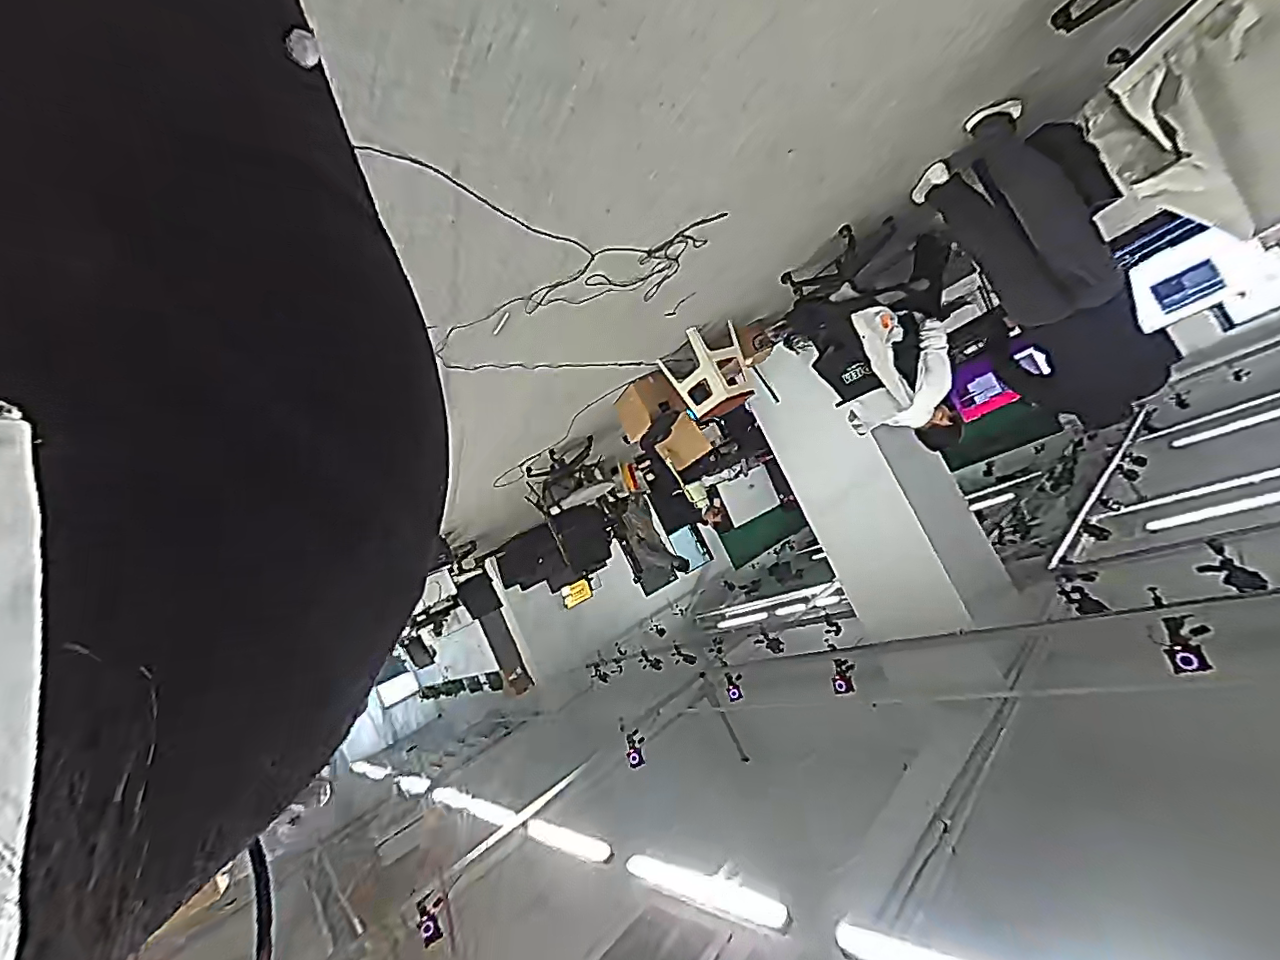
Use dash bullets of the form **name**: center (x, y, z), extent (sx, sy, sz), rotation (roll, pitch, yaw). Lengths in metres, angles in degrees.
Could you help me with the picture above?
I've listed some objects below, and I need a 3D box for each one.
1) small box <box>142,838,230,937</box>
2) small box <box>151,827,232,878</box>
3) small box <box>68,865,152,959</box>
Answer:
- **small box**: center (-1.410, 1.256, 1.686), extent (0.168, 0.176, 0.179), rotation (-19, 169, -35)
- **small box**: center (-1.537, 1.334, 1.859), extent (0.168, 0.176, 0.179), rotation (-22, 174, -34)
- **small box**: center (-1.684, 1.389, 1.737), extent (0.168, 0.176, 0.179), rotation (-19, 171, -35)
